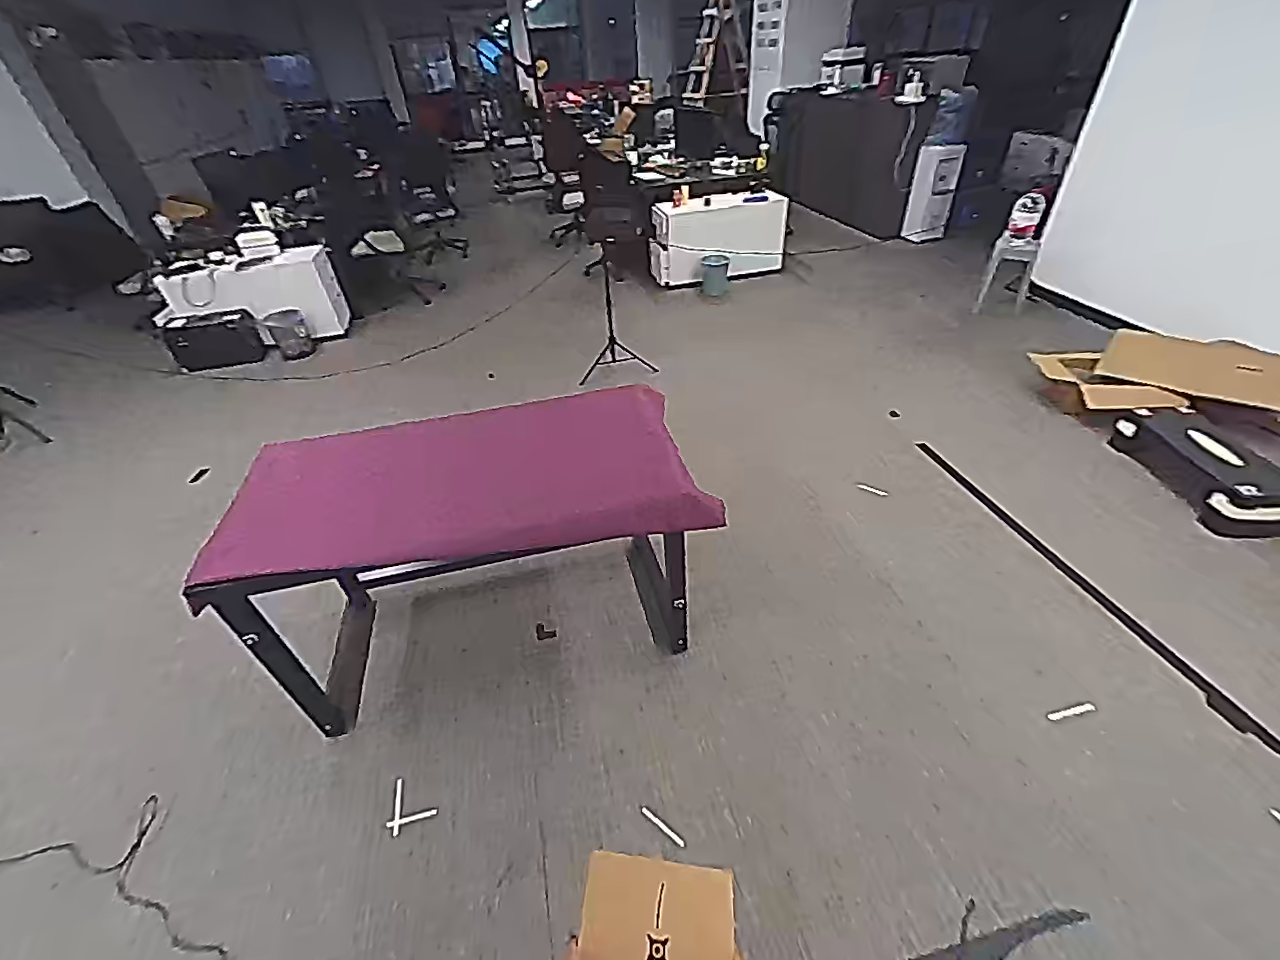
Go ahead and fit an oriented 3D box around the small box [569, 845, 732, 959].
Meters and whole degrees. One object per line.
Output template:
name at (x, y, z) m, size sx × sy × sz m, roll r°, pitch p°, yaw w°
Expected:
small box at (0.005, 0.545, 0.619) m, size 0.168 × 0.176 × 0.179 m, roll 9°, pitch 48°, yaw -1°
